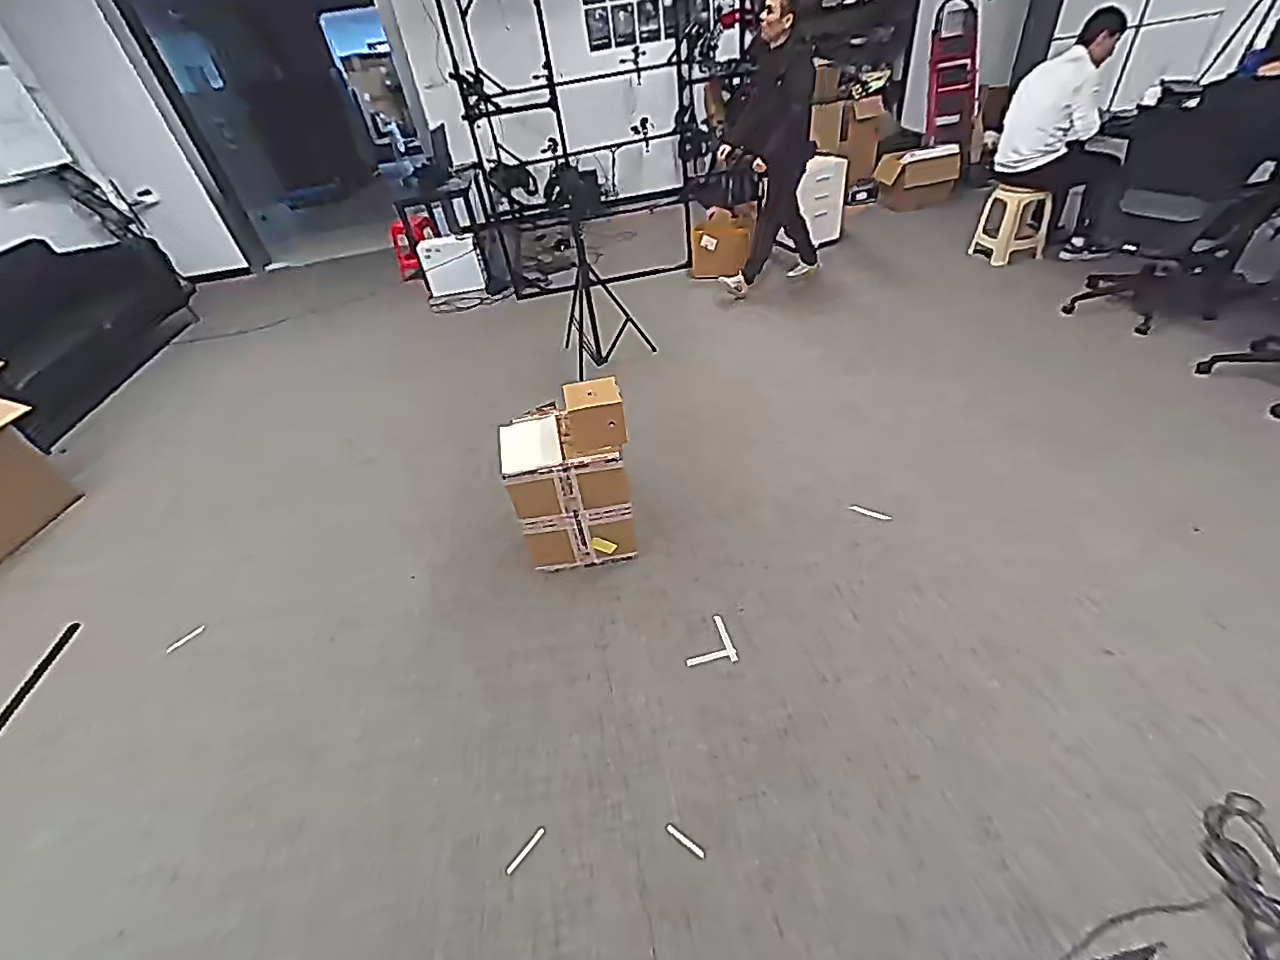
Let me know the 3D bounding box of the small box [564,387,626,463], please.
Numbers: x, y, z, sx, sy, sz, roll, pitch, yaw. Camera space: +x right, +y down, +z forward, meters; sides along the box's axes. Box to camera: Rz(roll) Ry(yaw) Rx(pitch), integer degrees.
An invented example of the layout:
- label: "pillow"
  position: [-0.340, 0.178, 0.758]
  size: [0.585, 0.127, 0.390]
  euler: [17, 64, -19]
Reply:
- label: "small box"
  position: [-0.145, -0.180, 1.785]
  size: [0.179, 0.176, 0.168]
  euler: [-12, 40, -6]
